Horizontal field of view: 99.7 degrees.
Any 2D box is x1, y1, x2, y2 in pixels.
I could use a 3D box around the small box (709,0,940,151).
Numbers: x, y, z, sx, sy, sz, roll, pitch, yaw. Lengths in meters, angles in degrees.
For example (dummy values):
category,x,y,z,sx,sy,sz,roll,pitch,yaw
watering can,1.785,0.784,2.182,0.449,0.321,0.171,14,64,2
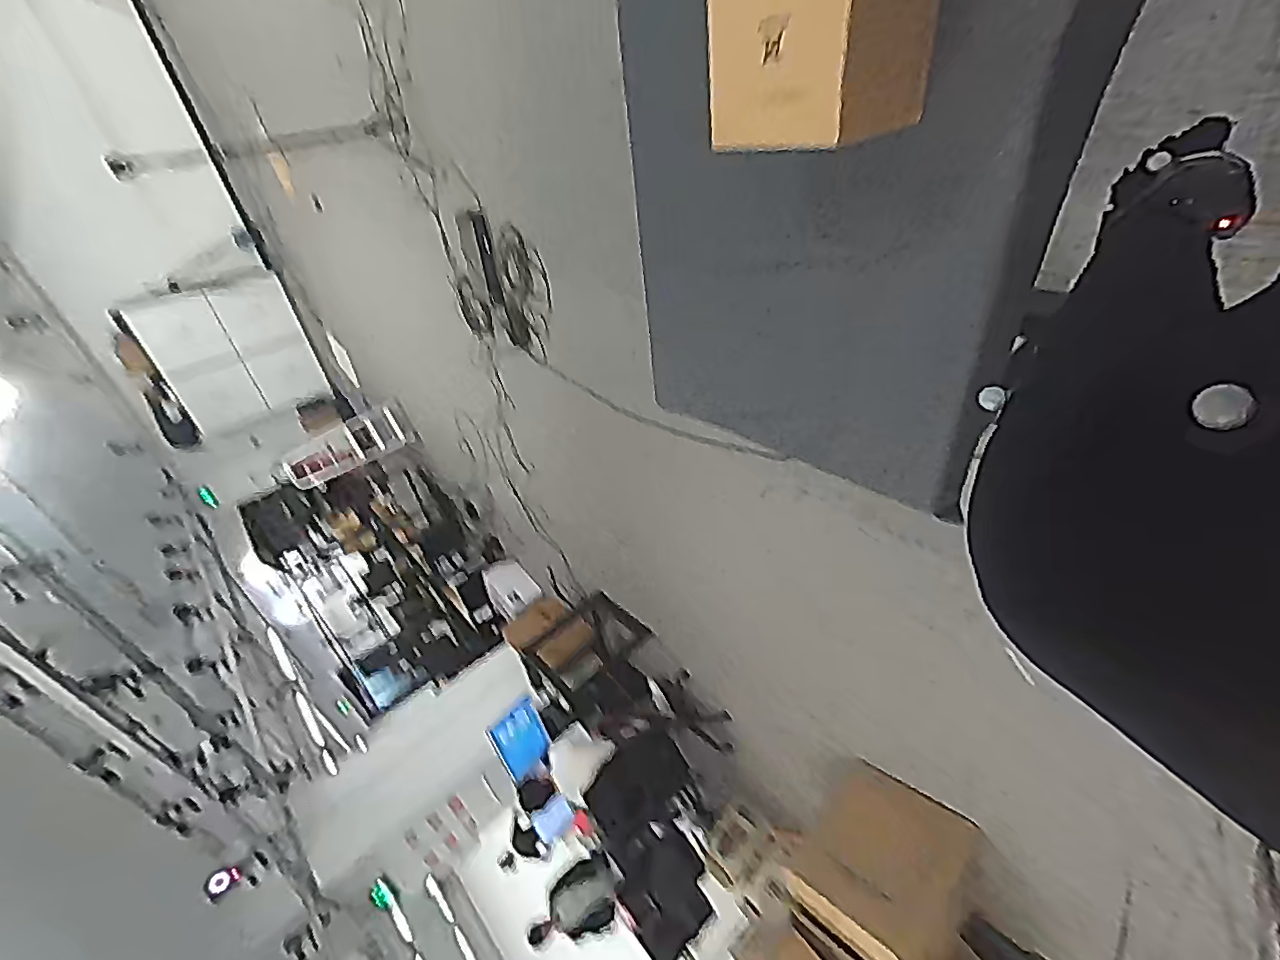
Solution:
category,x,y,z,sx,sy,sz,roll,pitch,yaw
small box,0.192,-0.462,0.569,0.168,0.176,0.179,29,141,41
